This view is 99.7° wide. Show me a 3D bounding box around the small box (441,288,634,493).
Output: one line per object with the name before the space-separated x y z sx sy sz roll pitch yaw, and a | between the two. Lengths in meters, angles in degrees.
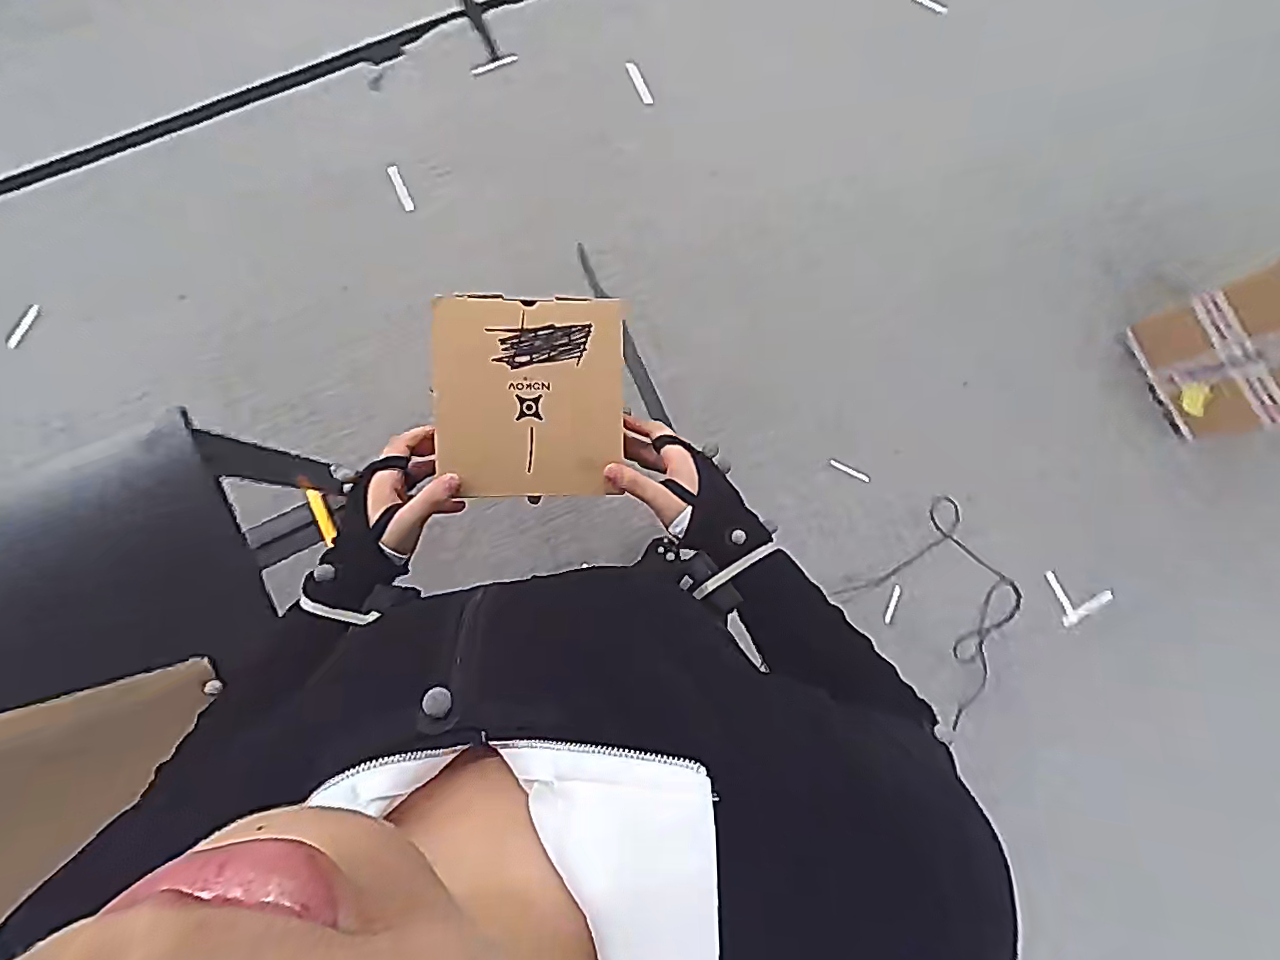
small box | -0.098 -0.079 0.547 0.168 0.176 0.179 0 93 -7
